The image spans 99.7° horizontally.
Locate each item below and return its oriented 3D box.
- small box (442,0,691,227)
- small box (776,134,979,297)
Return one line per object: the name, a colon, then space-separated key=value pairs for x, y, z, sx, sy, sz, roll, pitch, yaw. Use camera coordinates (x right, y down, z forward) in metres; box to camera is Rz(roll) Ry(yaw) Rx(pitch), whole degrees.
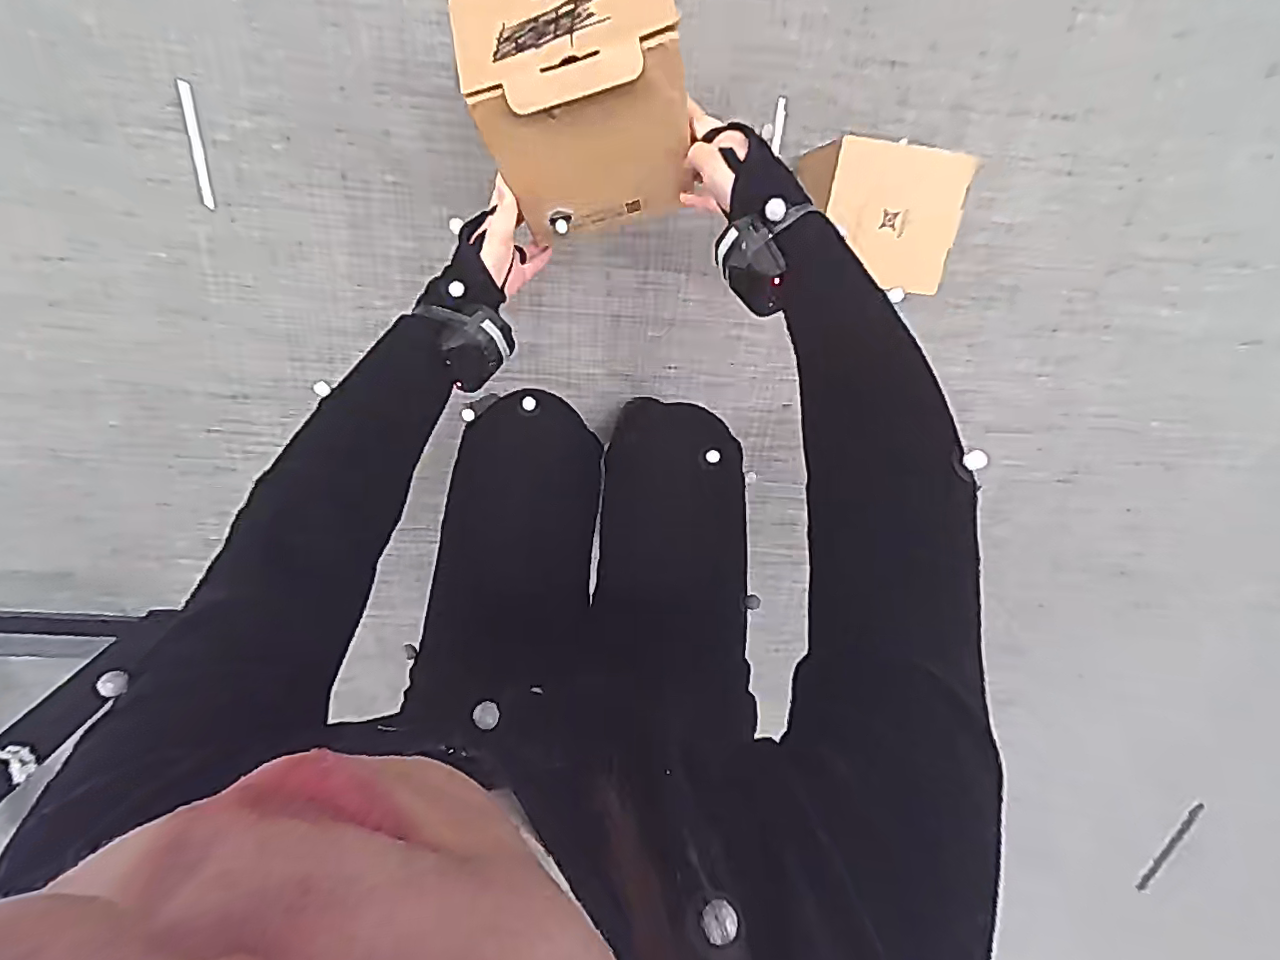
small box: x=-0.054 y=-0.349 z=0.467 sx=0.168 sy=0.176 sz=0.179 roll=-12 pitch=74 yaw=5
small box: x=0.309 y=-0.357 z=0.746 sx=0.179 sy=0.176 sz=0.168 roll=6 pitch=113 yaw=-6
